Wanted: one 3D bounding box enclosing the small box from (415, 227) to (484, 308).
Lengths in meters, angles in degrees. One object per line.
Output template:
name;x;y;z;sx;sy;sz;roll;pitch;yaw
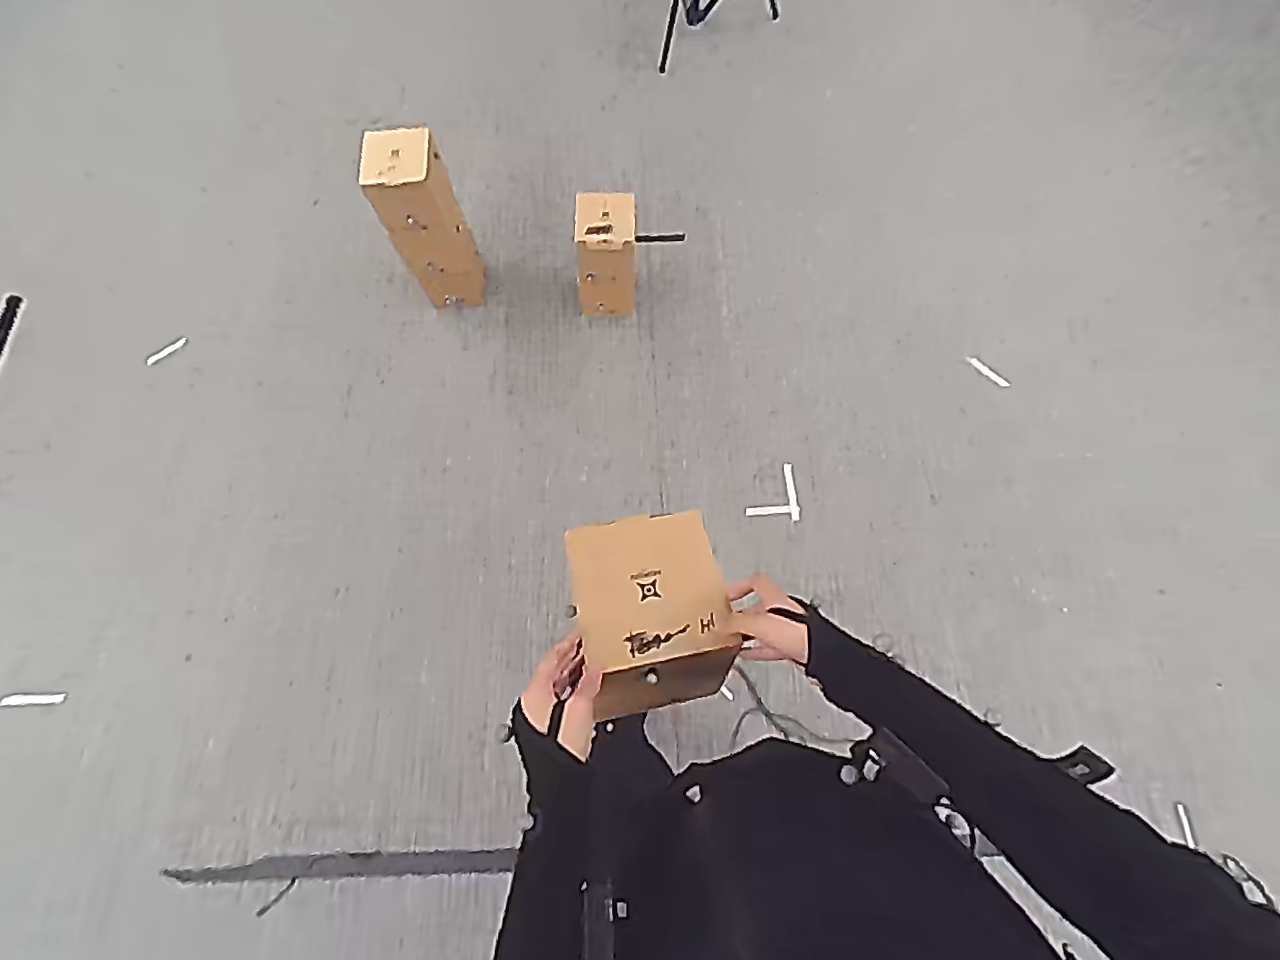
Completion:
small box;-0.605;-0.678;1.732;0.168;0.176;0.179;-4;71;-2

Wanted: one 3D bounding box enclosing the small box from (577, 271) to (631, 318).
small box;-0.111;-0.646;1.734;0.168;0.176;0.179;0;72;-2

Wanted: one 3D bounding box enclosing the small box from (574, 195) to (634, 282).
small box;-0.100;-0.699;1.578;0.168;0.176;0.179;0;71;-2

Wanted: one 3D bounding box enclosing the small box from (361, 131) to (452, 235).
small box;-0.604;-0.776;1.419;0.168;0.176;0.179;-4;72;-1

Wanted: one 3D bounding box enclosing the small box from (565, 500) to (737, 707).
small box;0.001;0.151;0.658;0.168;0.176;0.179;-8;52;-9
